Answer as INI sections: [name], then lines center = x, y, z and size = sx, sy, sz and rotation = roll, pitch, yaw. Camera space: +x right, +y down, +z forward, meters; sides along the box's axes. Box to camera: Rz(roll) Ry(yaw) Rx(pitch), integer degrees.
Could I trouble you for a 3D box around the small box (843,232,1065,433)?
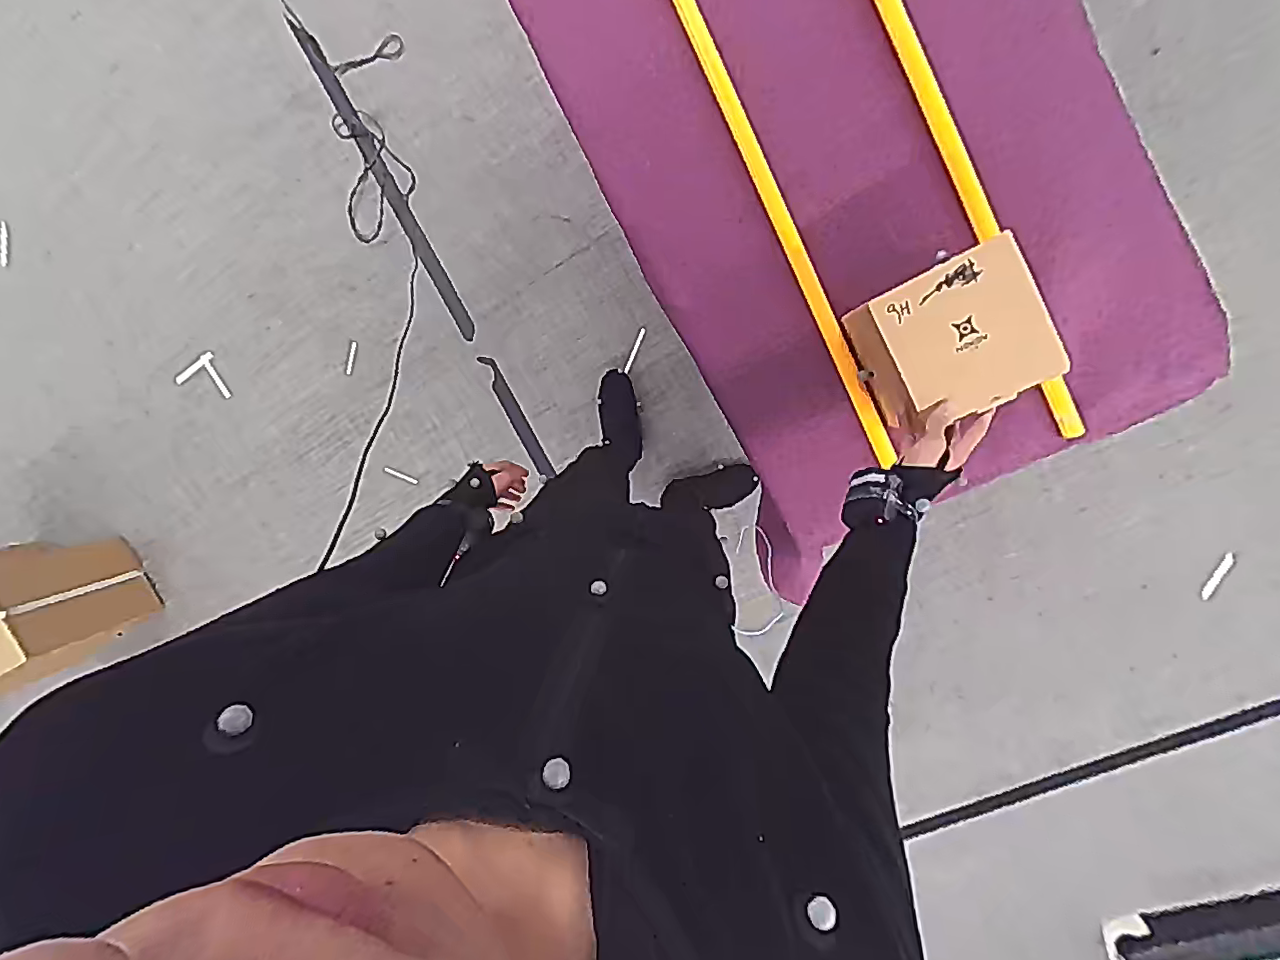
[small box]
center = 0.386, -0.181, 0.696
size = 0.168, 0.176, 0.179
rotation = -25, 96, 13
